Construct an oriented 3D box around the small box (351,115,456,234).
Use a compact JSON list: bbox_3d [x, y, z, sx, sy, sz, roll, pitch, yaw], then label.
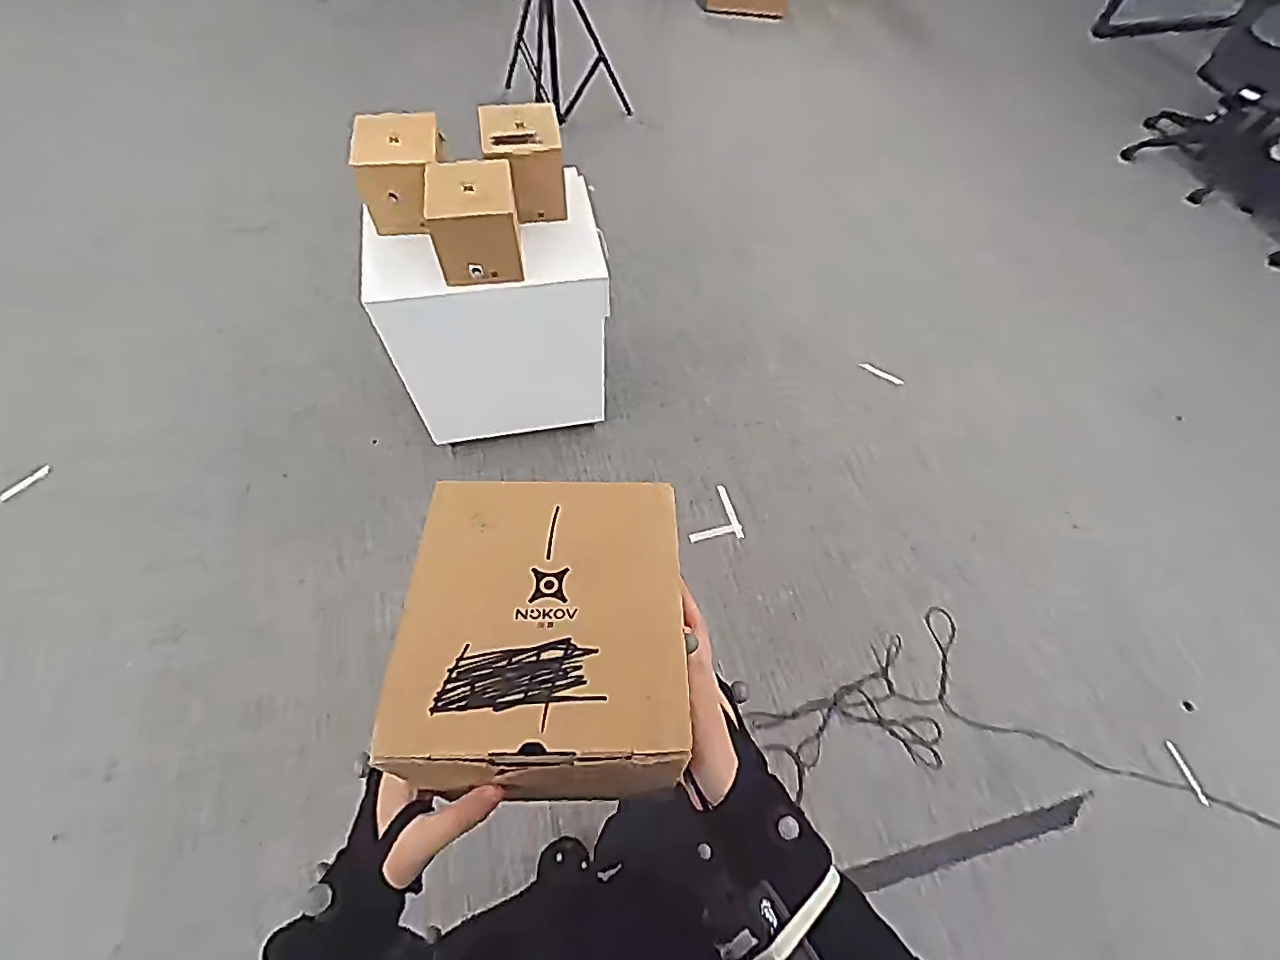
[{"bbox_3d":[-0.504,-0.657,1.177,0.168,0.176,0.179,-7,62,-8],"label":"small box"}]
